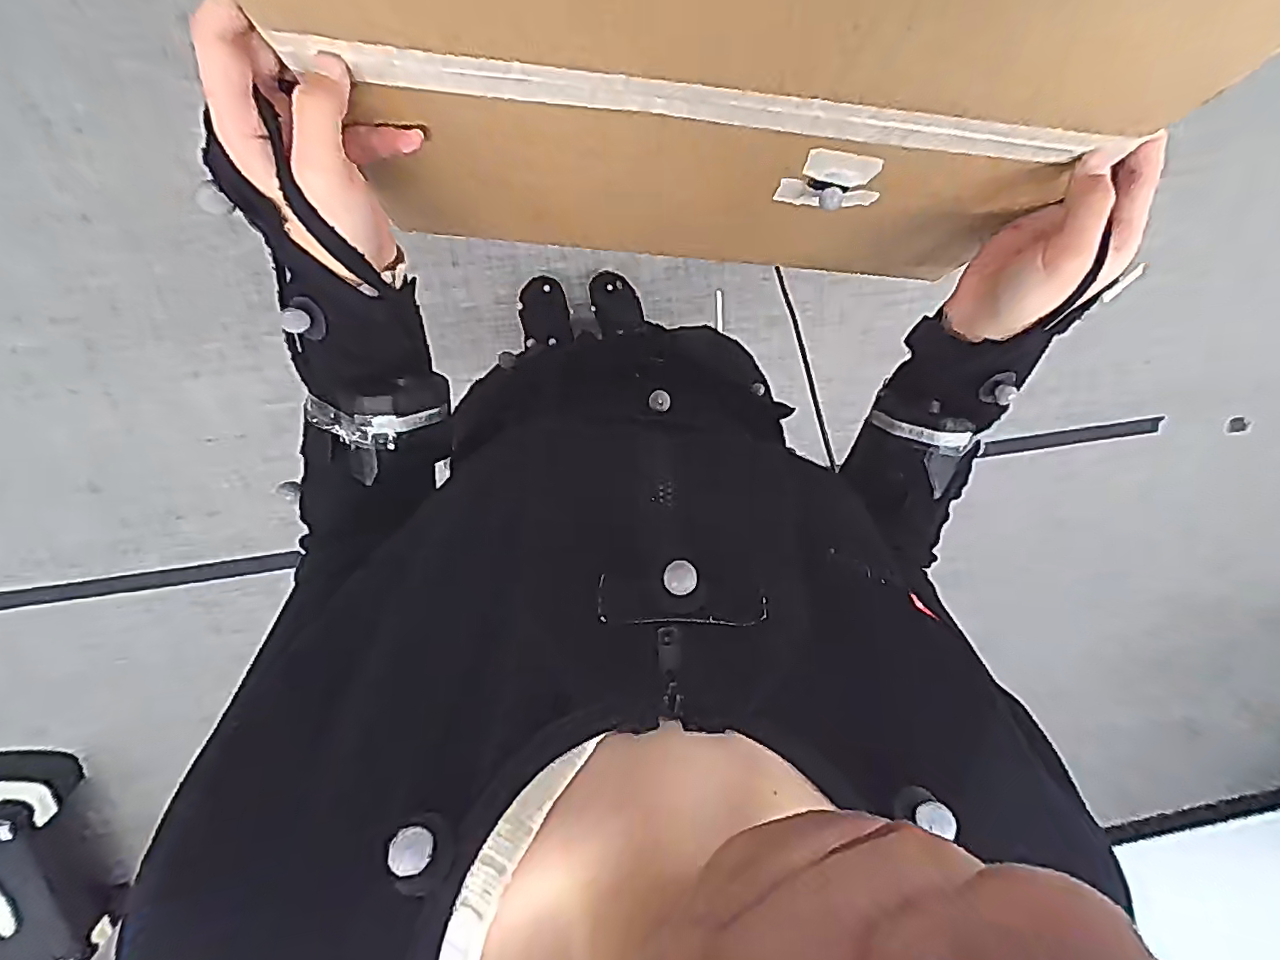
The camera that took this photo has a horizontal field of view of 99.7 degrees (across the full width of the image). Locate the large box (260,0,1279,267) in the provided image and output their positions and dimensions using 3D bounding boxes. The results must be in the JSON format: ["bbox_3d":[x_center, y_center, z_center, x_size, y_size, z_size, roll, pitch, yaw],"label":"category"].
[{"bbox_3d":[0.044,-0.332,0.266,0.408,0.320,0.320,2,87,-6],"label":"large box"}]
